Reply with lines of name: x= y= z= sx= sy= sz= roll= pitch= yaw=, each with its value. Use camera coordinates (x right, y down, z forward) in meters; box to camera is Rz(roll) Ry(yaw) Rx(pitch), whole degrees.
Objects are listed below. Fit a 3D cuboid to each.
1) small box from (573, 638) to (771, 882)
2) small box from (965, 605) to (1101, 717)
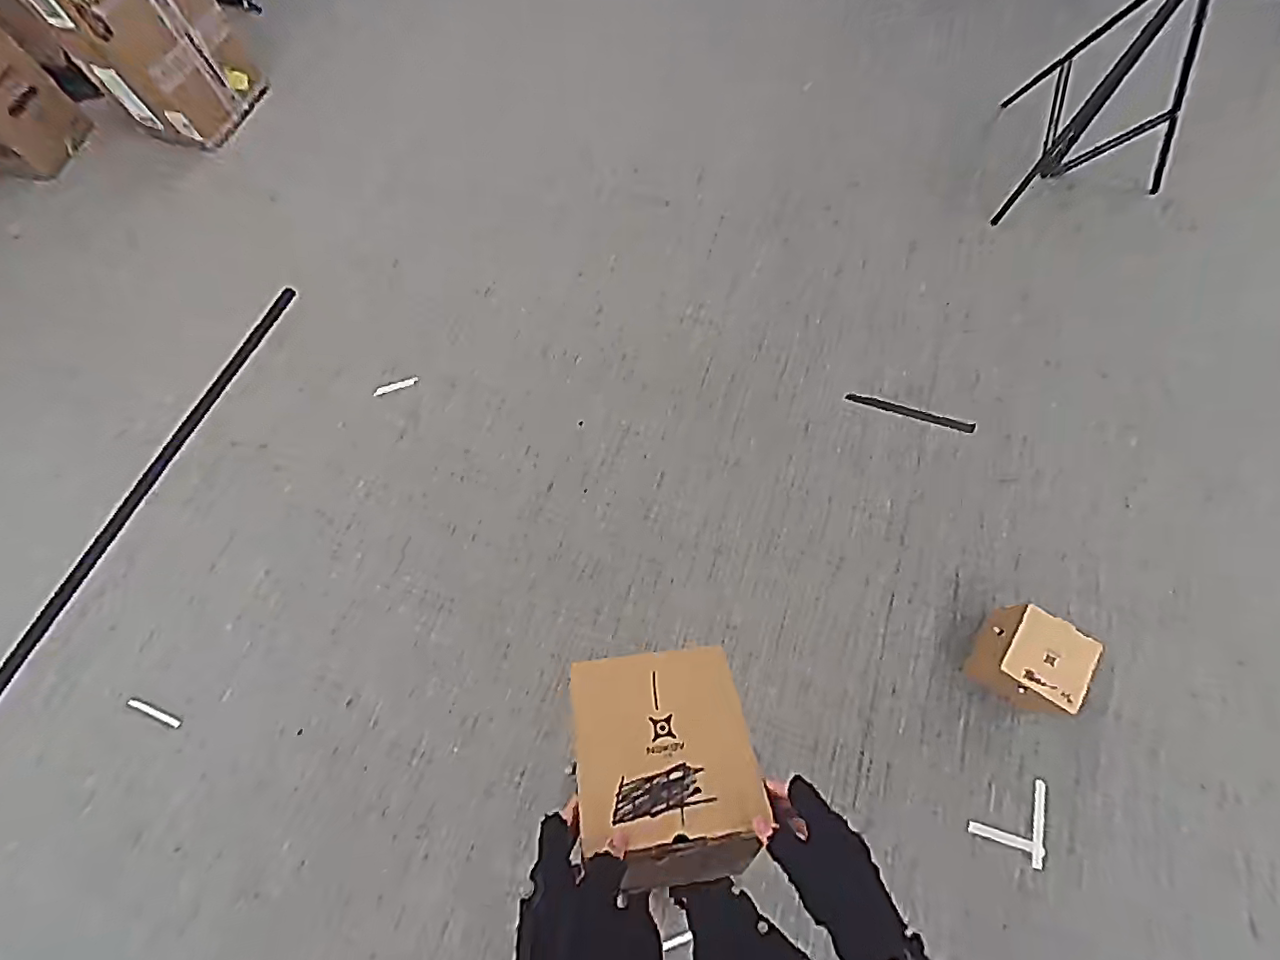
small box: x=0.021 y=0.293 z=0.564 sx=0.168 sy=0.176 sz=0.179 roll=-5 pitch=42 yaw=-7
small box: x=0.885 y=0.414 z=1.235 sx=0.168 sy=0.176 sz=0.179 roll=33 pitch=72 yaw=14
